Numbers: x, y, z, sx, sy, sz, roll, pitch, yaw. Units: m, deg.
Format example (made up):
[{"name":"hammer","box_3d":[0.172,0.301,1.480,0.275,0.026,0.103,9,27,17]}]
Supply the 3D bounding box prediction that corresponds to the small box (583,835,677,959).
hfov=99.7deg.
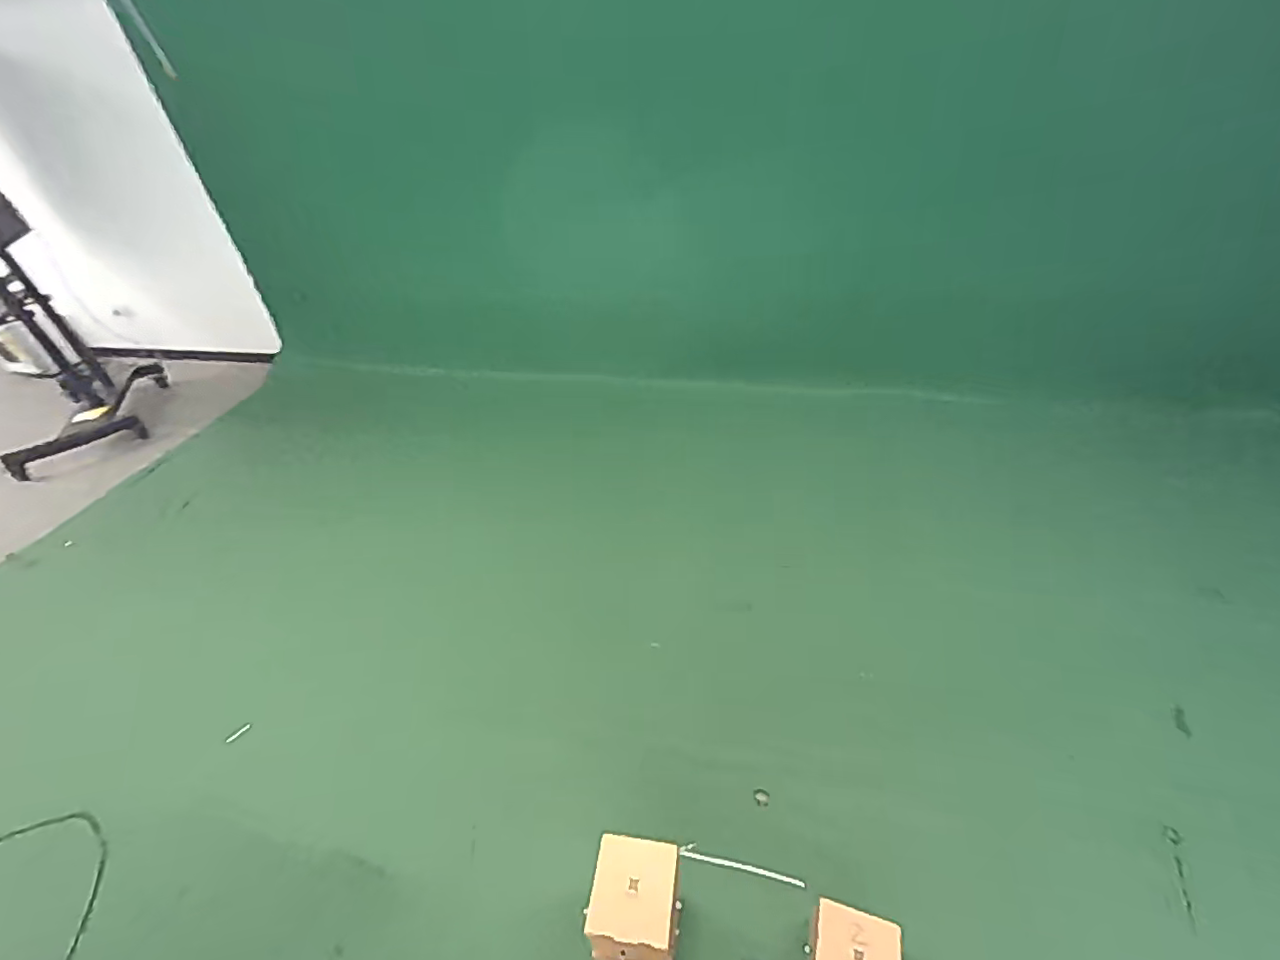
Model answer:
[{"name":"small box","box_3d":[-0.013,0.890,1.143,0.168,0.176,0.179,3,40,10]}]
